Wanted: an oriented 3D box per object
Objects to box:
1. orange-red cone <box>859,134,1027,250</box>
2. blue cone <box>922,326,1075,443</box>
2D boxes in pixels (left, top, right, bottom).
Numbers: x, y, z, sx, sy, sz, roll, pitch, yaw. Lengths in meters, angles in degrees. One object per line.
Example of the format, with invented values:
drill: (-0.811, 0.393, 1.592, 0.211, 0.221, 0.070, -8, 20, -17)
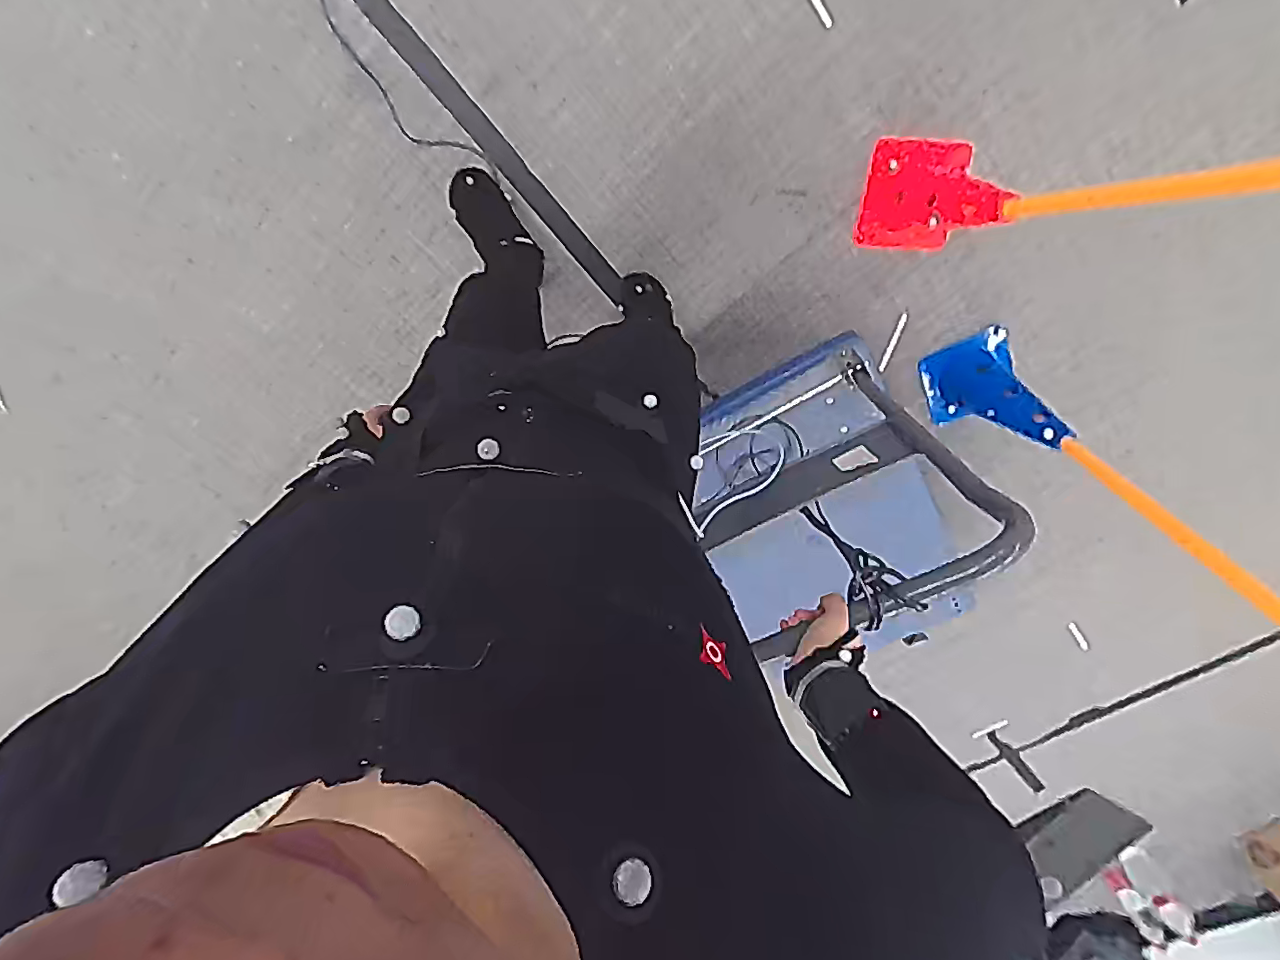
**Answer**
orange-red cone: (0.559, -0.491, 0.950, 0.198, 0.360, 0.199, 4, 121, -1)
blue cone: (0.787, -0.168, 1.153, 0.193, 0.380, 0.192, -23, 117, 13)
